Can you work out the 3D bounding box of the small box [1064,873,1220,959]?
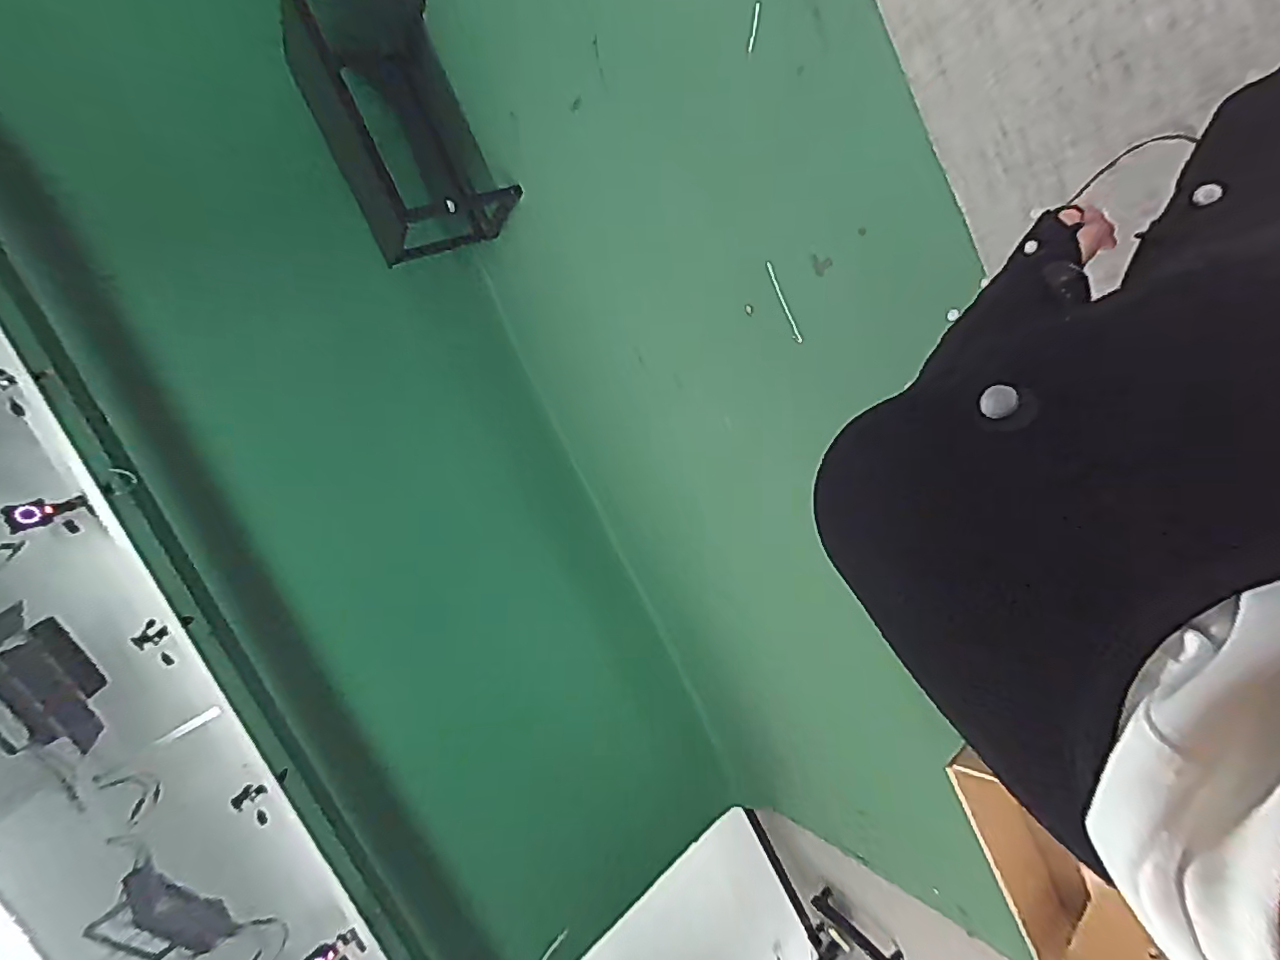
[{"bbox_3d":[0.918,0.876,0.982,0.168,0.176,0.179,-11,106,59],"label":"small box"}]
